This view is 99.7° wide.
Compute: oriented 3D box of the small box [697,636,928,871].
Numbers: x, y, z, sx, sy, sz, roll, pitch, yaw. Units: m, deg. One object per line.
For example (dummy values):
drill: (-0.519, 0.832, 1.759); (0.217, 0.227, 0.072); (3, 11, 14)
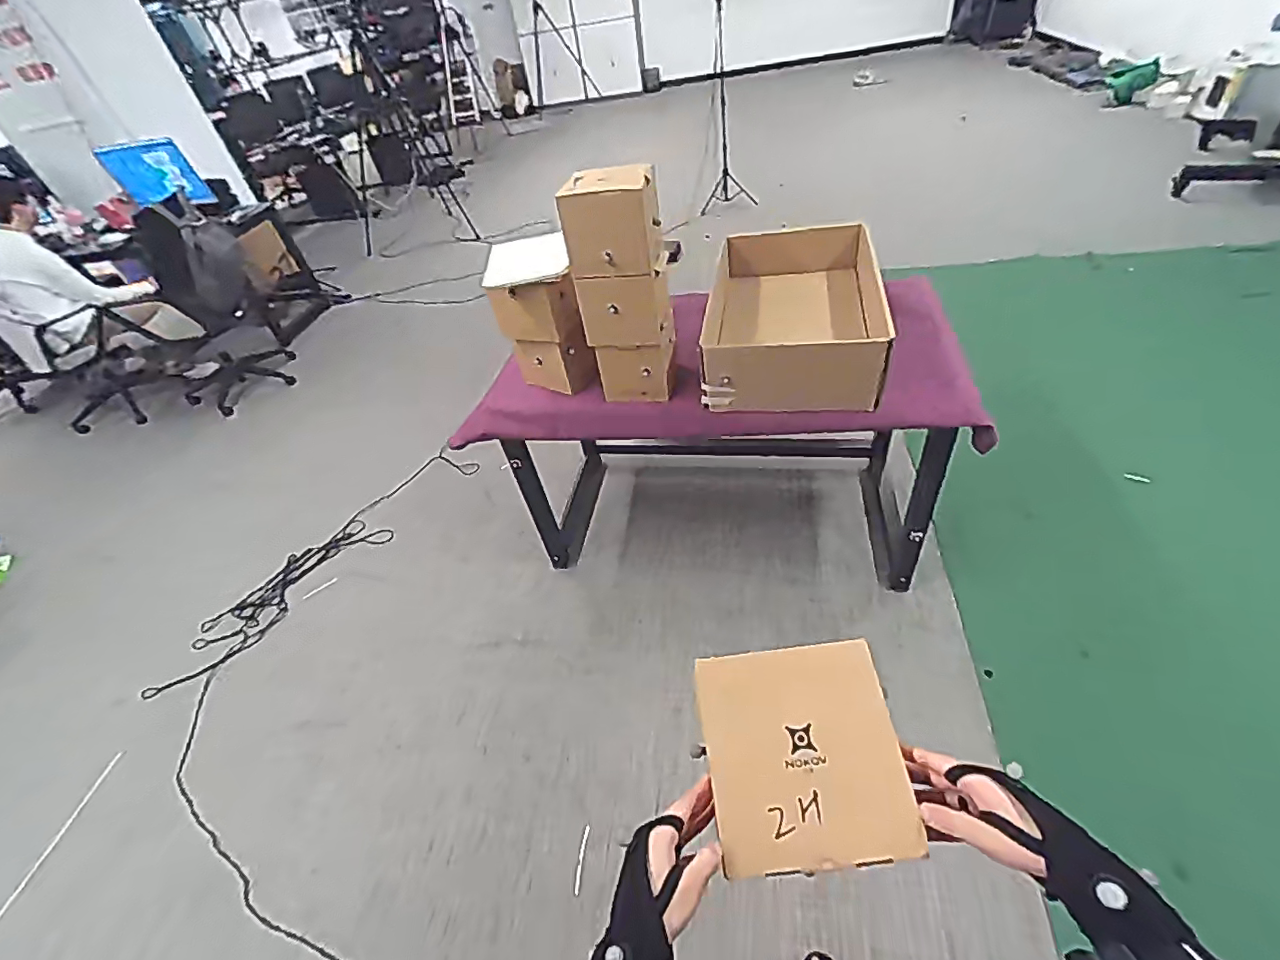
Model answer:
small box: (0.148, 0.271, 0.541); (0.168, 0.176, 0.179); (-8, 60, 3)

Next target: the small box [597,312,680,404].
small box: (0.004, -0.307, 1.374); (0.168, 0.176, 0.179); (2, 44, 14)

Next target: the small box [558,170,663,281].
small box: (-0.051, -0.537, 1.146); (0.179, 0.176, 0.168); (3, 43, 13)

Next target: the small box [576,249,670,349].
small box: (-0.029, -0.418, 1.256); (0.179, 0.176, 0.168); (2, 43, 13)

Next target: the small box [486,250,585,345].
small box: (-0.242, -0.452, 1.342); (0.179, 0.176, 0.168); (11, 48, 23)
